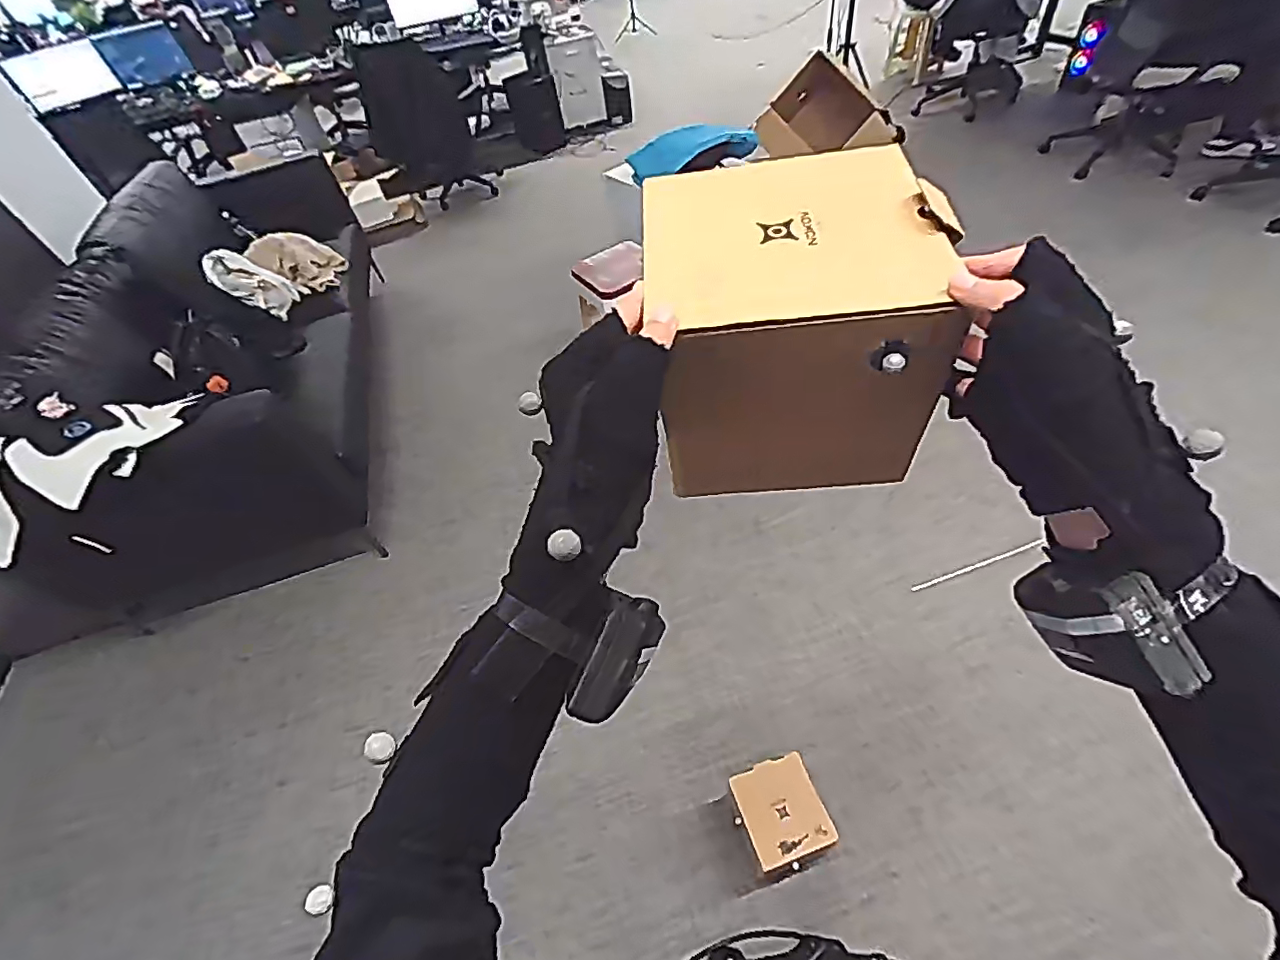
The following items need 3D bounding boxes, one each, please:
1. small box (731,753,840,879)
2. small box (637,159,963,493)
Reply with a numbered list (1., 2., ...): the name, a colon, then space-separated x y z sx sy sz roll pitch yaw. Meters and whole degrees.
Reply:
1. small box: 0.305 0.727 1.169 0.168 0.176 0.179 -18 48 -5
2. small box: 0.097 -0.102 0.402 0.179 0.176 0.168 -4 55 7
